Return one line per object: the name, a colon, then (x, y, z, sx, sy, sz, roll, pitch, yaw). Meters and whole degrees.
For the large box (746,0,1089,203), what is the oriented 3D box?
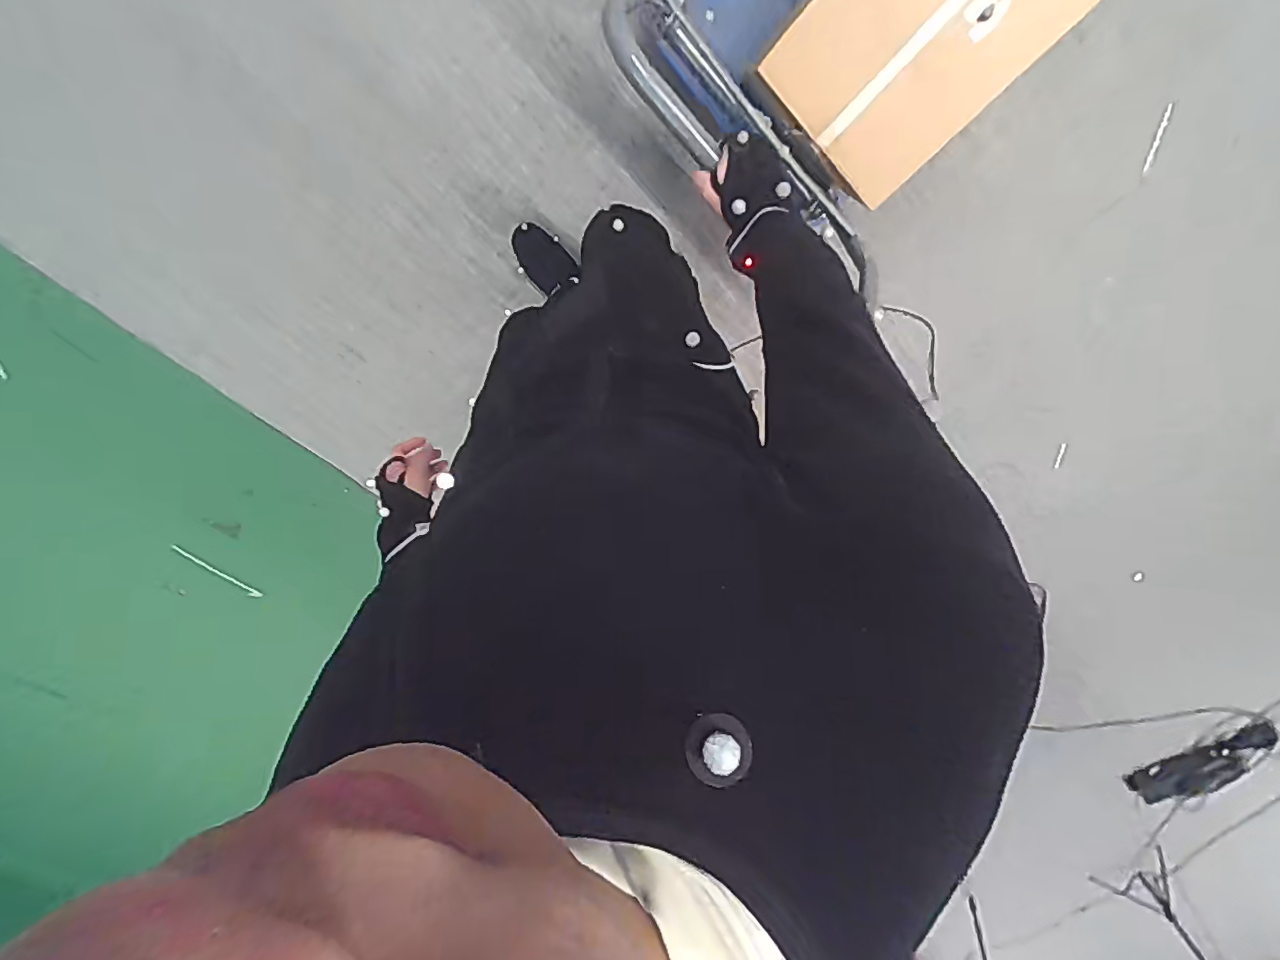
large box: (0.441, -0.774, 0.935, 0.320, 0.320, 0.408, 37, 121, -21)
